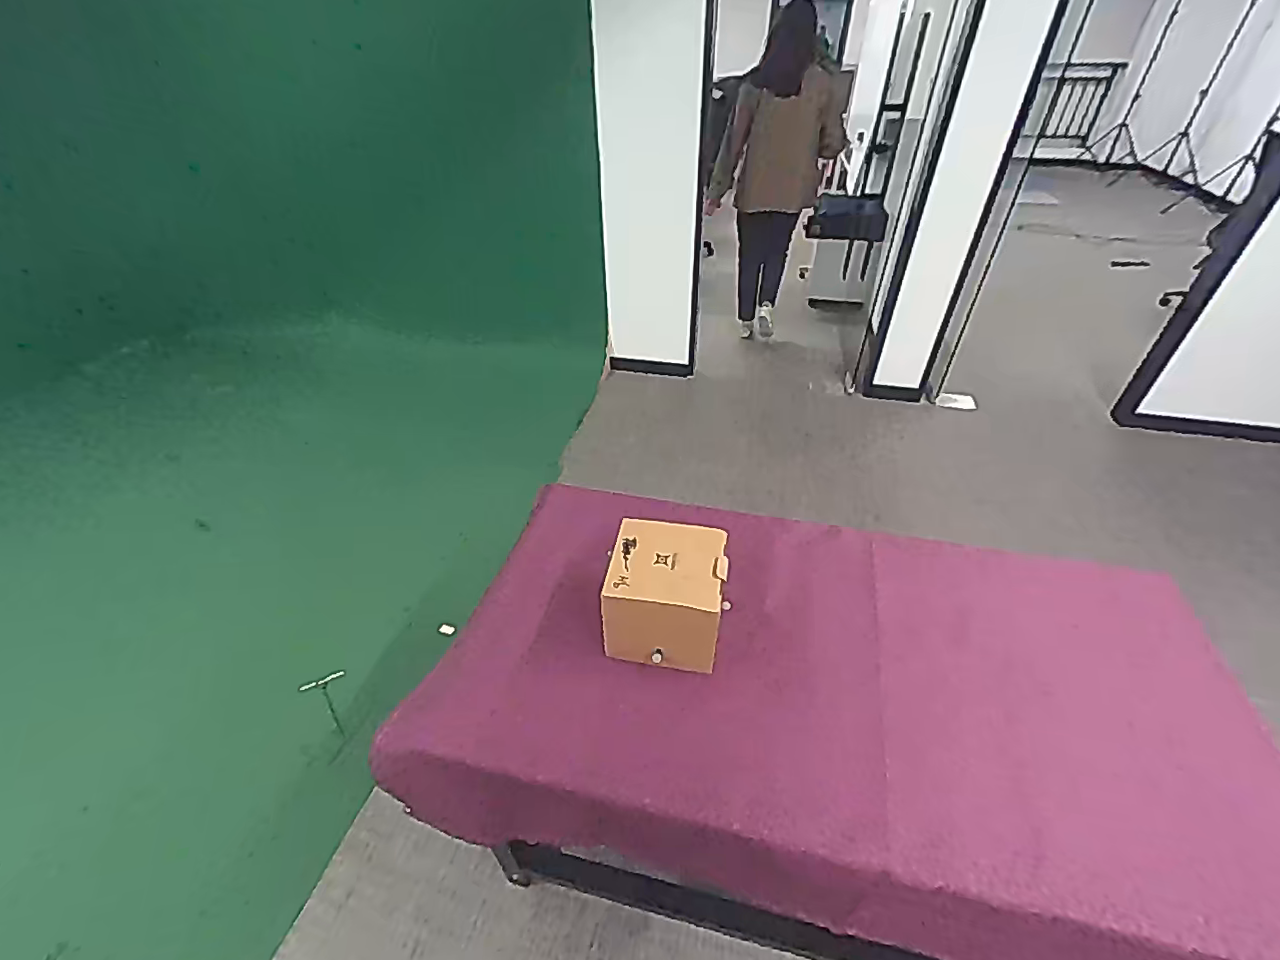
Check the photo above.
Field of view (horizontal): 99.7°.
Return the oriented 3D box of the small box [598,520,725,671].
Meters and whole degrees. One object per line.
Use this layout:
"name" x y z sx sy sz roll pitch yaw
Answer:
"small box" 0.039 0.191 0.886 0.179 0.176 0.168 7 41 9
